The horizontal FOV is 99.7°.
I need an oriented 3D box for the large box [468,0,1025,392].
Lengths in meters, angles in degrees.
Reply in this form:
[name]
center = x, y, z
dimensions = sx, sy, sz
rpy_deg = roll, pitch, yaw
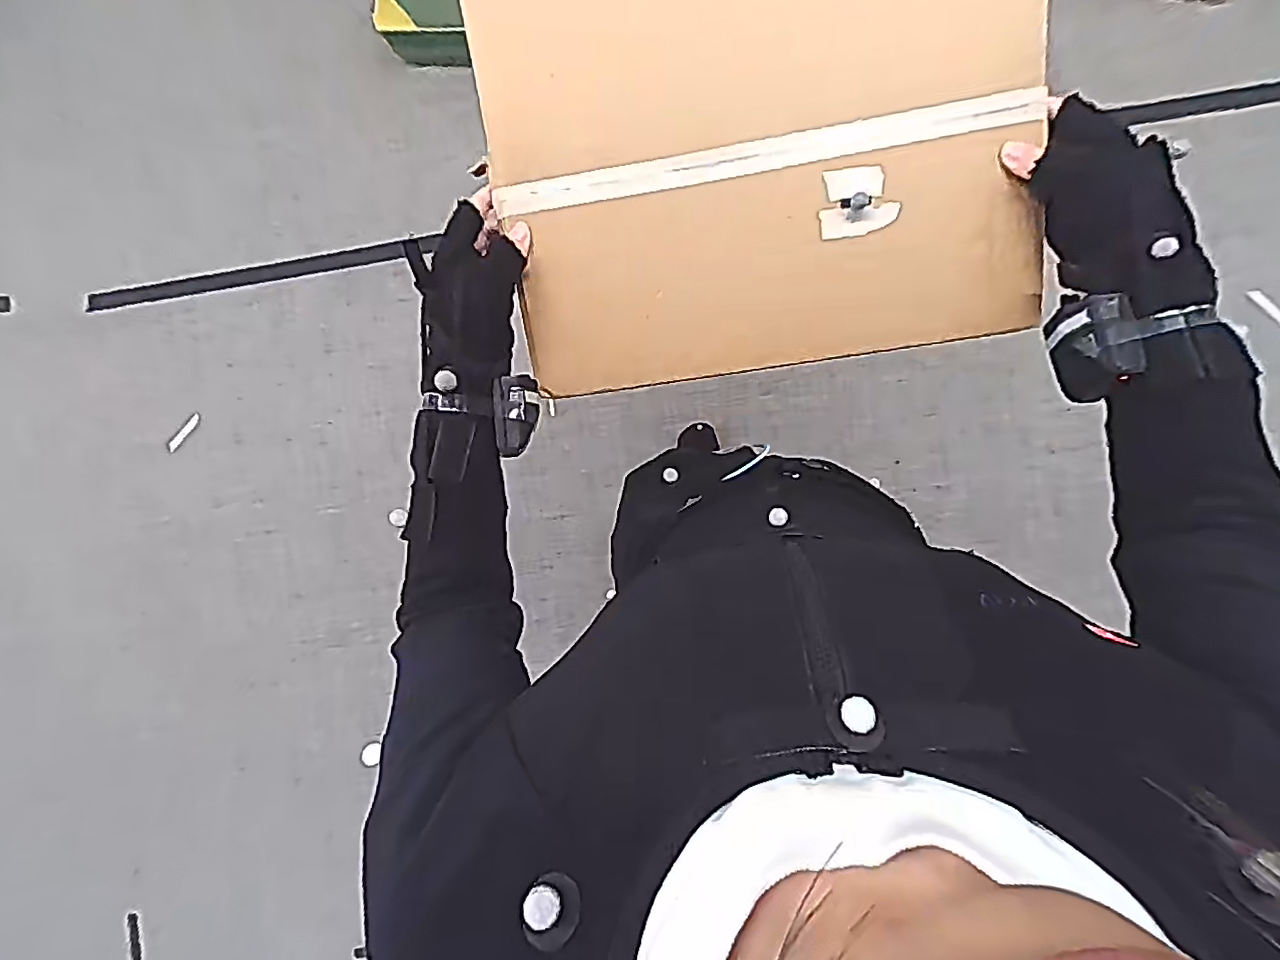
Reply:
[large box]
center = 0.094, -0.289, 0.565
dimensions = 0.408, 0.320, 0.320
rpy_deg = -8, 105, 5
